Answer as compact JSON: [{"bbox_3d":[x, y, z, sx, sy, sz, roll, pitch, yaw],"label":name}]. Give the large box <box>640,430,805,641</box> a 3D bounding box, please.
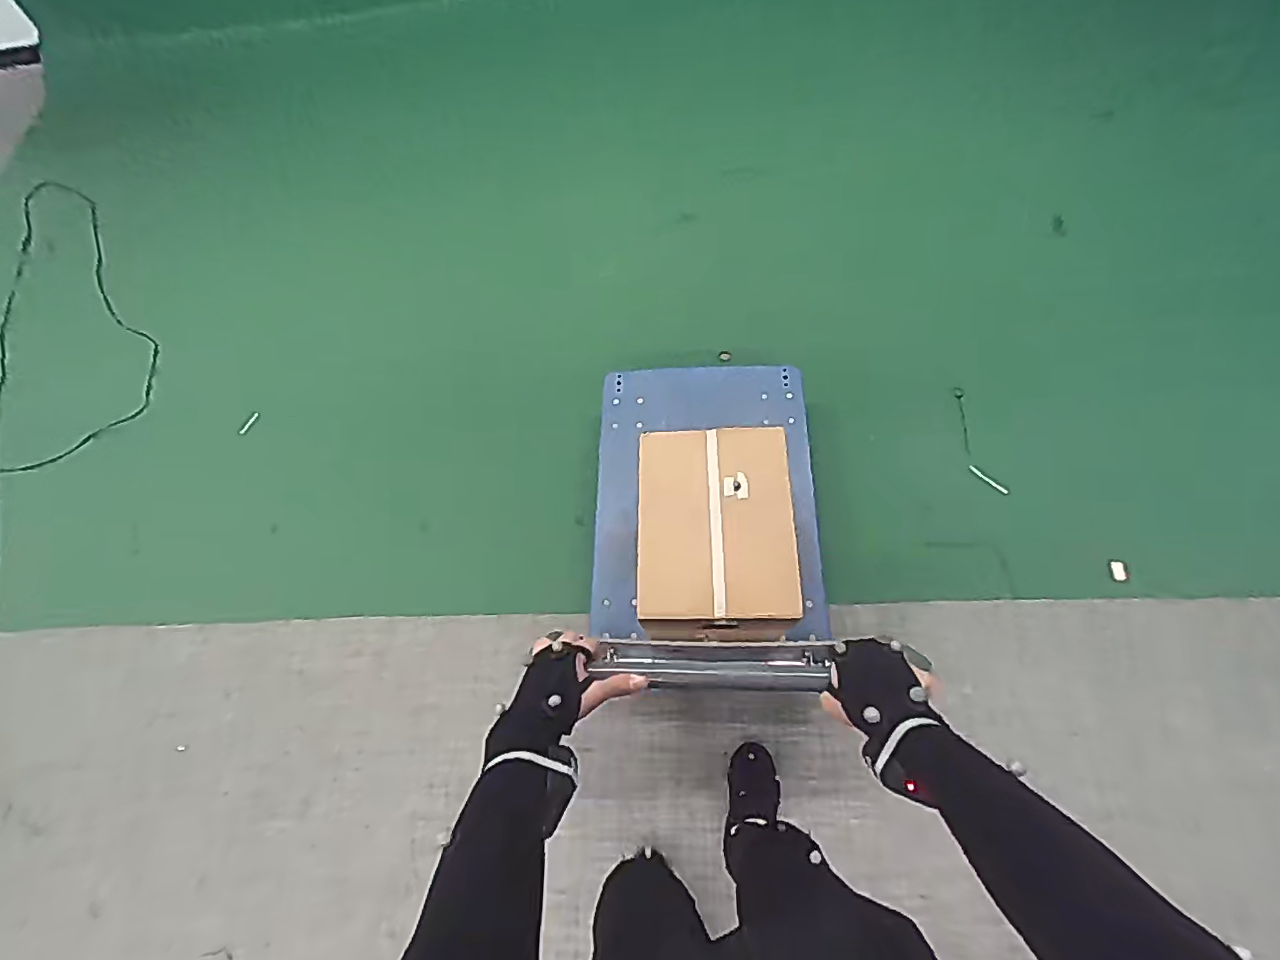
[{"bbox_3d":[0.173,0.140,1.229,0.320,0.320,0.408,-2,66,5],"label":"large box"}]
